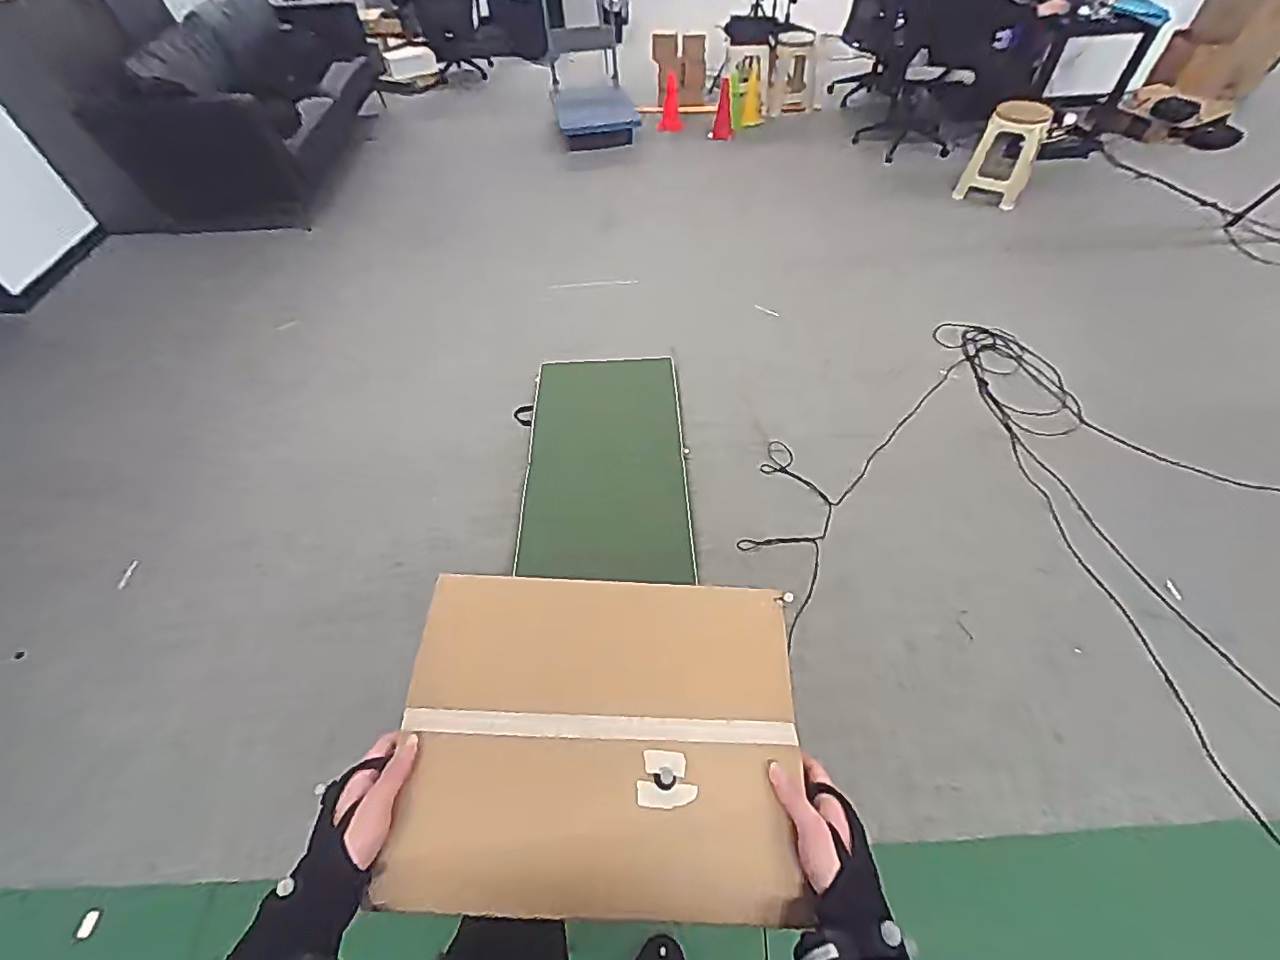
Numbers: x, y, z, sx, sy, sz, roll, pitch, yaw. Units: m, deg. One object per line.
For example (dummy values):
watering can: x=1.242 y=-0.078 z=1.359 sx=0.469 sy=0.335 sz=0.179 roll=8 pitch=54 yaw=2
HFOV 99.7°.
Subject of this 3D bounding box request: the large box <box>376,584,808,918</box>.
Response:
large box: x=-0.047 y=0.339 z=0.693 sx=0.408 sy=0.320 sz=0.320 roll=3 pitch=59 yaw=-1
